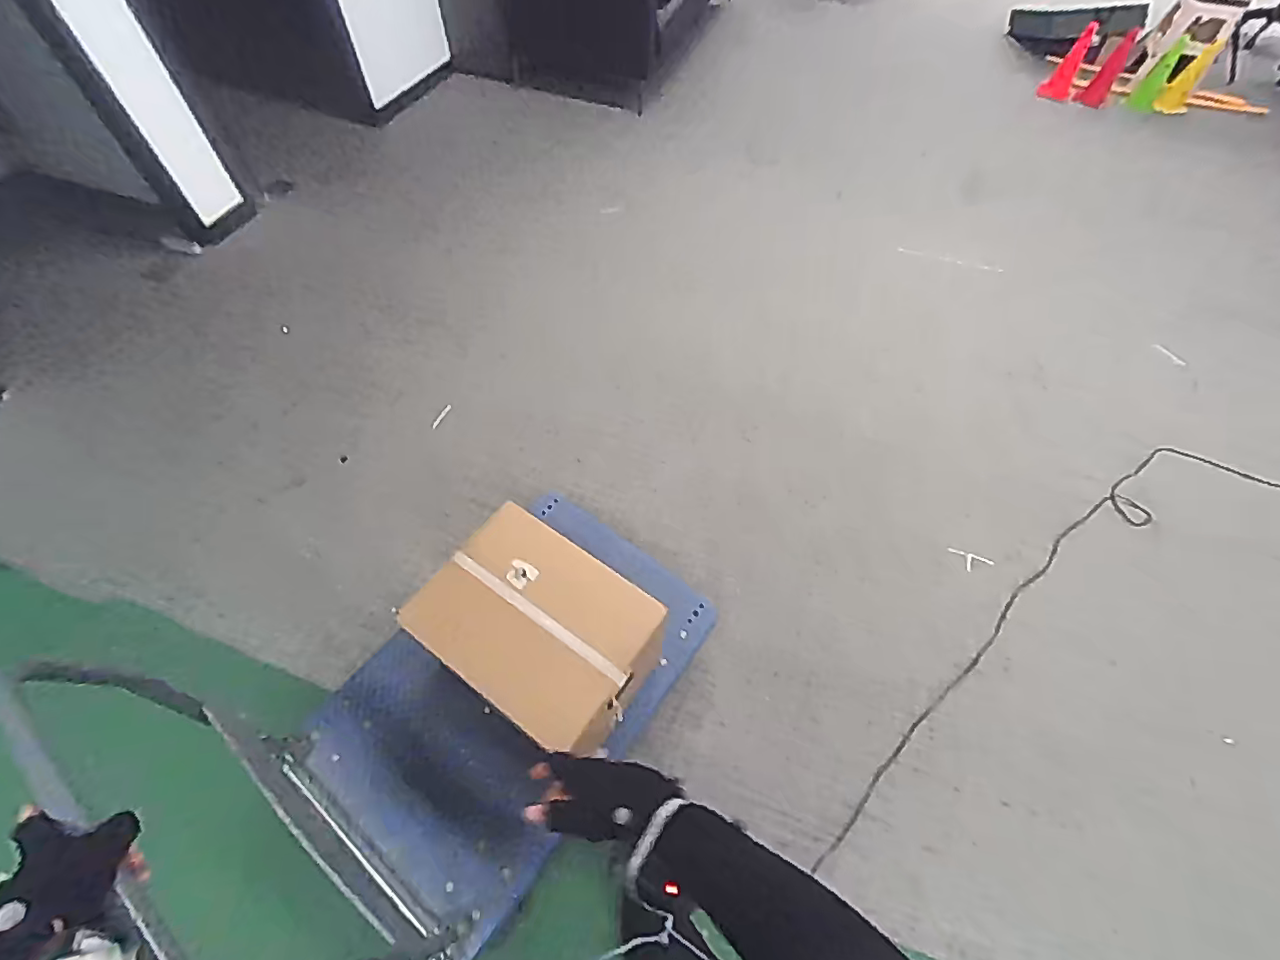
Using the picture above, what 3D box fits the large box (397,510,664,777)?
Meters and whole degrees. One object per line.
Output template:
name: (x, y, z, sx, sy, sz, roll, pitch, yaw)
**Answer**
large box: (-0.197, 0.338, 1.118, 0.408, 0.320, 0.320, 31, 60, 20)
